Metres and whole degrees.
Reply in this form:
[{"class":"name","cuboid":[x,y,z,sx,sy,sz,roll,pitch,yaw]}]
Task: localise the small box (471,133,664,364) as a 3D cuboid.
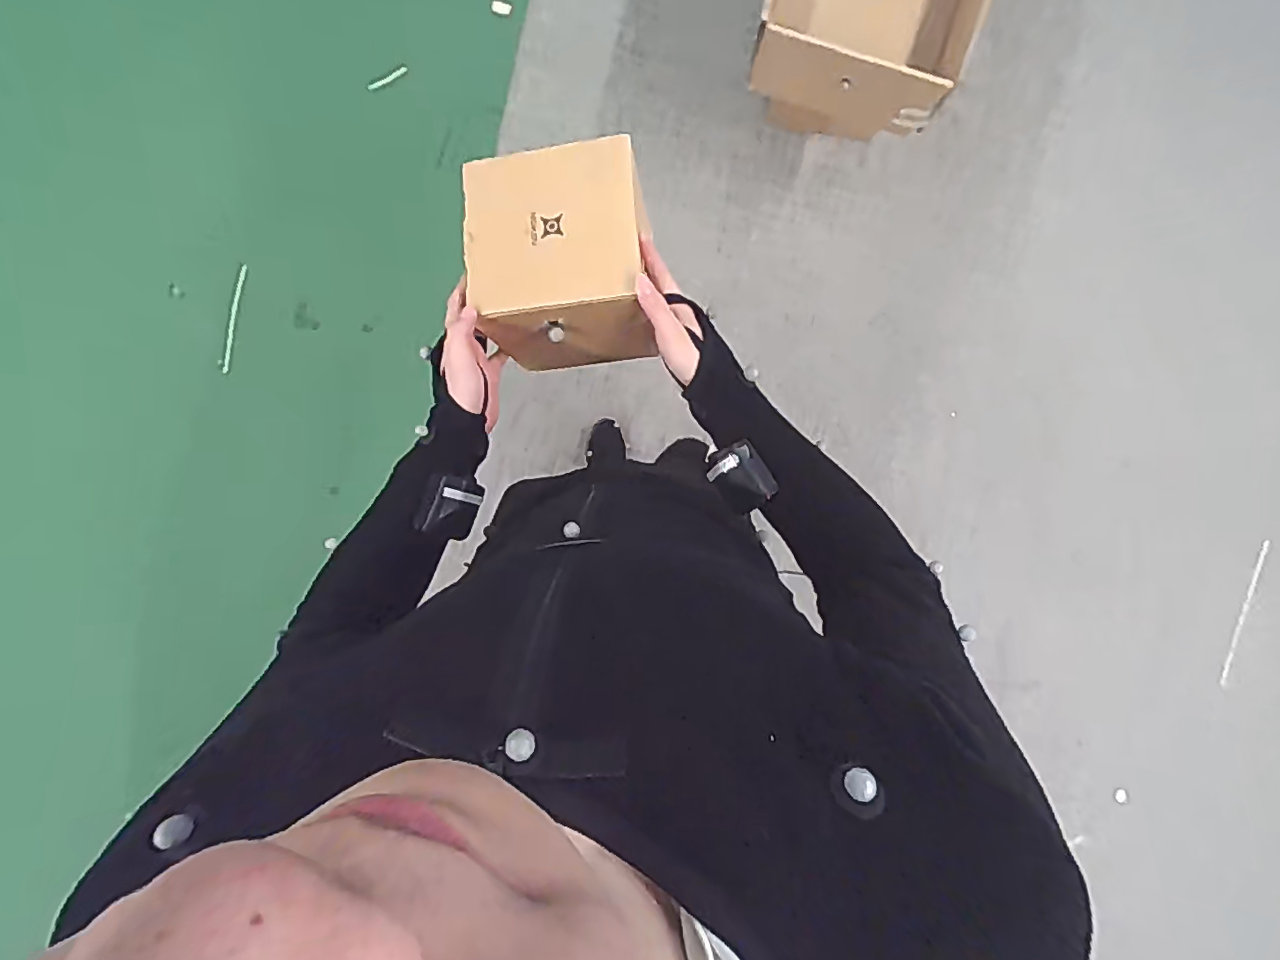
[{"class":"small box","cuboid":[-0.068,-0.238,0.598,0.179,0.176,0.168,-4,83,9]}]
